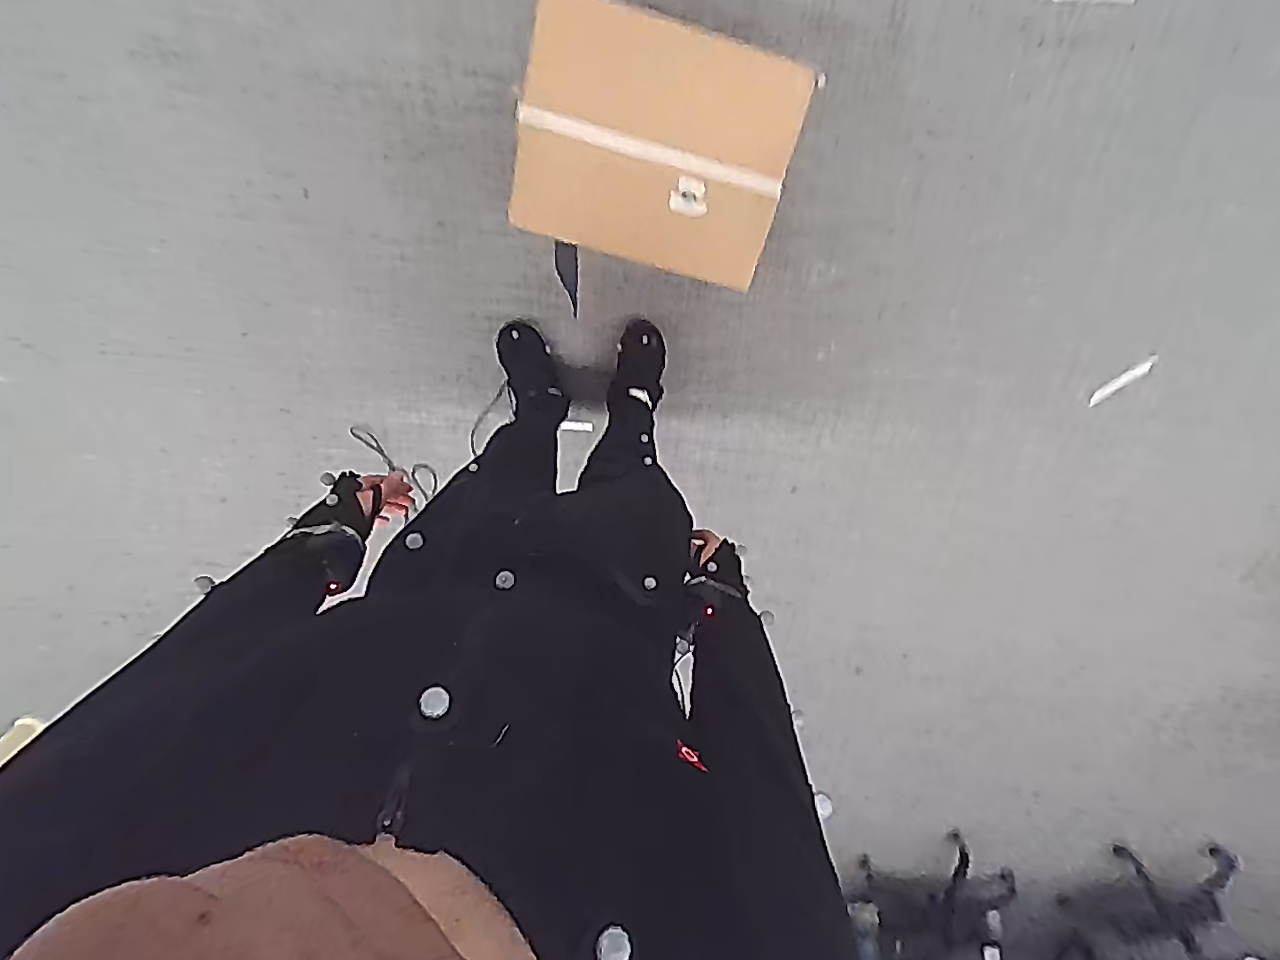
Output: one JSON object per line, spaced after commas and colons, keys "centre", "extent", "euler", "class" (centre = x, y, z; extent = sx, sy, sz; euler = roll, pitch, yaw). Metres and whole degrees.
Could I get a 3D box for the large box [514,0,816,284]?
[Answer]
{"centre": [0.021, -0.561, 0.942], "extent": [0.408, 0.320, 0.320], "euler": [12, 117, -7], "class": "large box"}
